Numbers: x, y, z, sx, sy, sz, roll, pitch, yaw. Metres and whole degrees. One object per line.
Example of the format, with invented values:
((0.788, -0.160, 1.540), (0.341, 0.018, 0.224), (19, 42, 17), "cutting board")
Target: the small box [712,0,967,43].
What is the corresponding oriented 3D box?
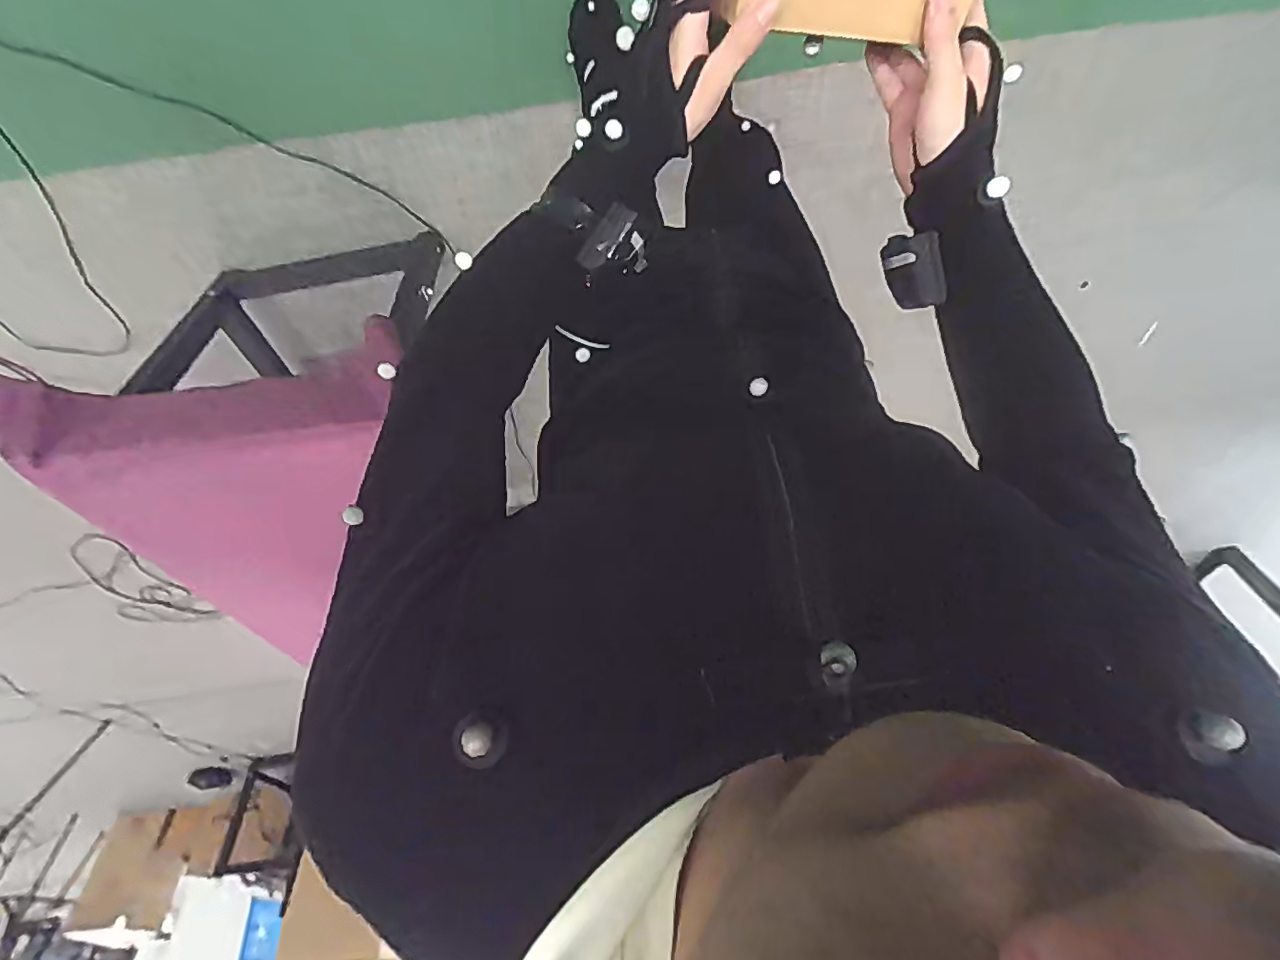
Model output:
((0.147, -0.442, 0.387), (0.179, 0.176, 0.168), (-2, 139, -9), "small box")
